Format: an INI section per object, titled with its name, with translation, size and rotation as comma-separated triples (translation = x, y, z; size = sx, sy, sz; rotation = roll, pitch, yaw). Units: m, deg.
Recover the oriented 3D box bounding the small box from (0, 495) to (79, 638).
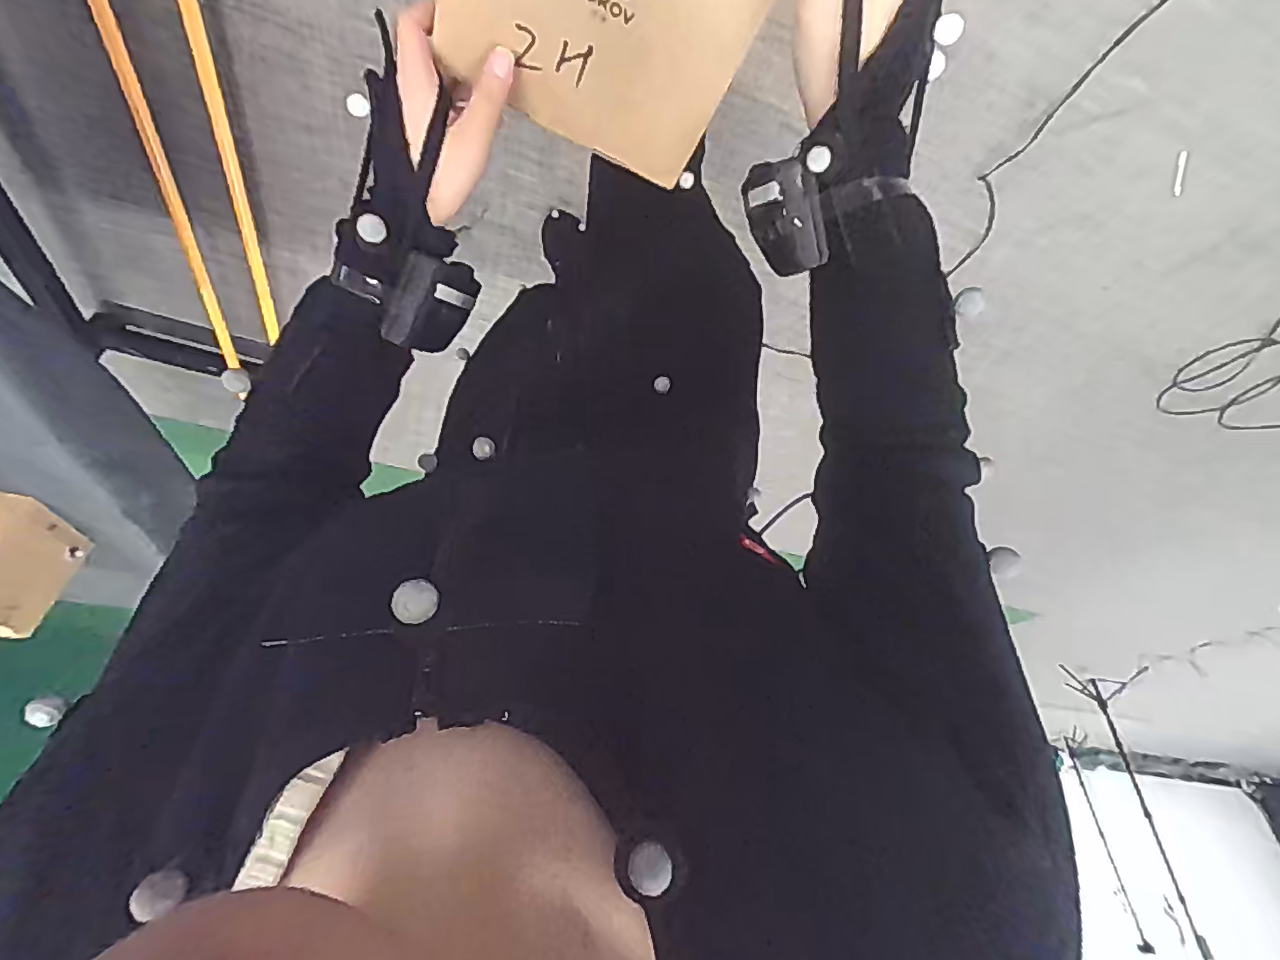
[small box]
translation = -1.007, 0.118, 0.804
size = 0.179, 0.176, 0.168
rotation = 13, 144, -10
